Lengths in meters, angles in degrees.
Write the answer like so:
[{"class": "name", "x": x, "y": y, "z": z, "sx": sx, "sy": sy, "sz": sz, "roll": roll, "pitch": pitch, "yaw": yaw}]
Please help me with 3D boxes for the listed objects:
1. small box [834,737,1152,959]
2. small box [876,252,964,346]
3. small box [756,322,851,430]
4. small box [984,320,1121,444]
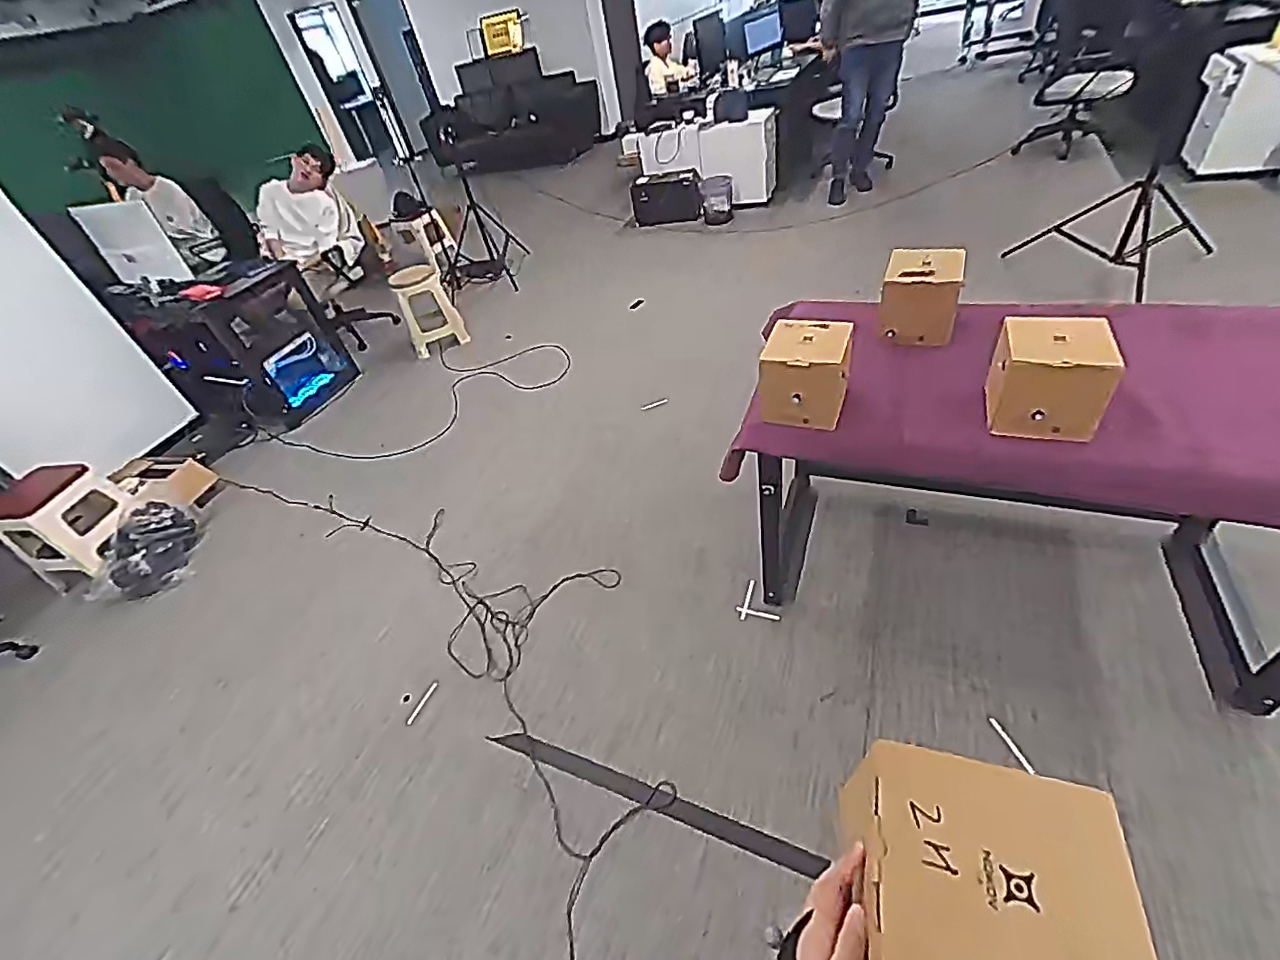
[{"class": "small box", "x": 0.272, "y": 0.346, "z": 0.453, "sx": 0.179, "sy": 0.176, "sz": 0.168, "roll": 8, "pitch": 47, "yaw": 15}, {"class": "small box", "x": 0.695, "y": -0.451, "z": 1.351, "sx": 0.168, "sy": 0.176, "sz": 0.179, "roll": 11, "pitch": 48, "yaw": 25}, {"class": "small box", "x": 0.365, "y": -0.230, "z": 1.202, "sx": 0.168, "sy": 0.176, "sz": 0.179, "roll": 10, "pitch": 47, "yaw": 24}, {"class": "small box", "x": 0.787, "y": -0.194, "z": 1.054, "sx": 0.168, "sy": 0.176, "sz": 0.179, "roll": 8, "pitch": 46, "yaw": 23}]
